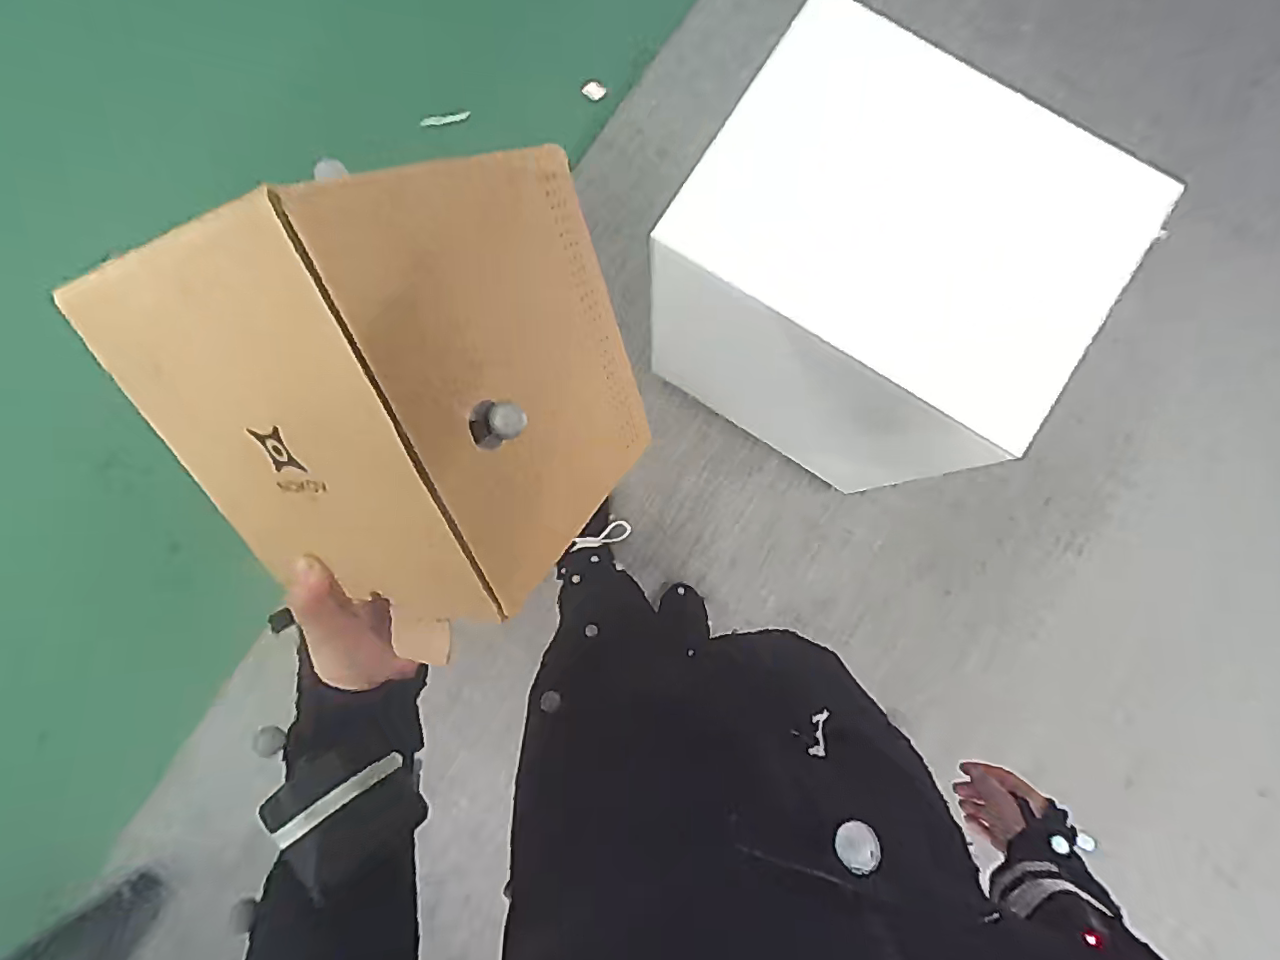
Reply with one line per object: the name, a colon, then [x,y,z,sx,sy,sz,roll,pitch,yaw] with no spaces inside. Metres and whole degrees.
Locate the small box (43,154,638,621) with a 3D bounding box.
small box: [-0.121,-0.054,0.286,0.168,0.176,0.179,-2,123,28]
